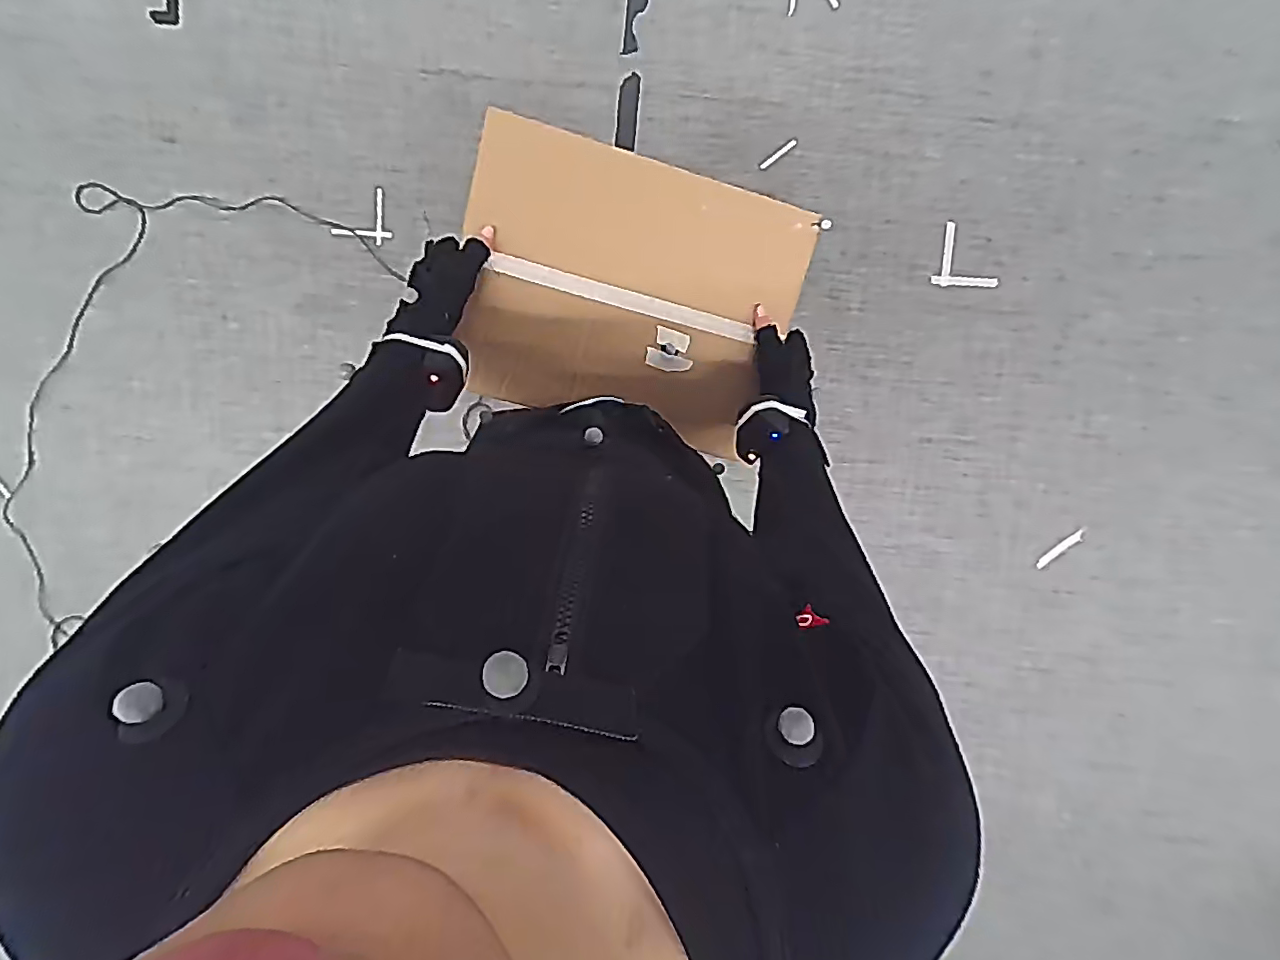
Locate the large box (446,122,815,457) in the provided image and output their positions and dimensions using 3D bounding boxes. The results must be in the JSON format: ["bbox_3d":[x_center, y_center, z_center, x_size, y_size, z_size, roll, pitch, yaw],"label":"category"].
[{"bbox_3d":[-0.027,-0.249,0.808,0.408,0.320,0.320,14,102,-8],"label":"large box"}]
